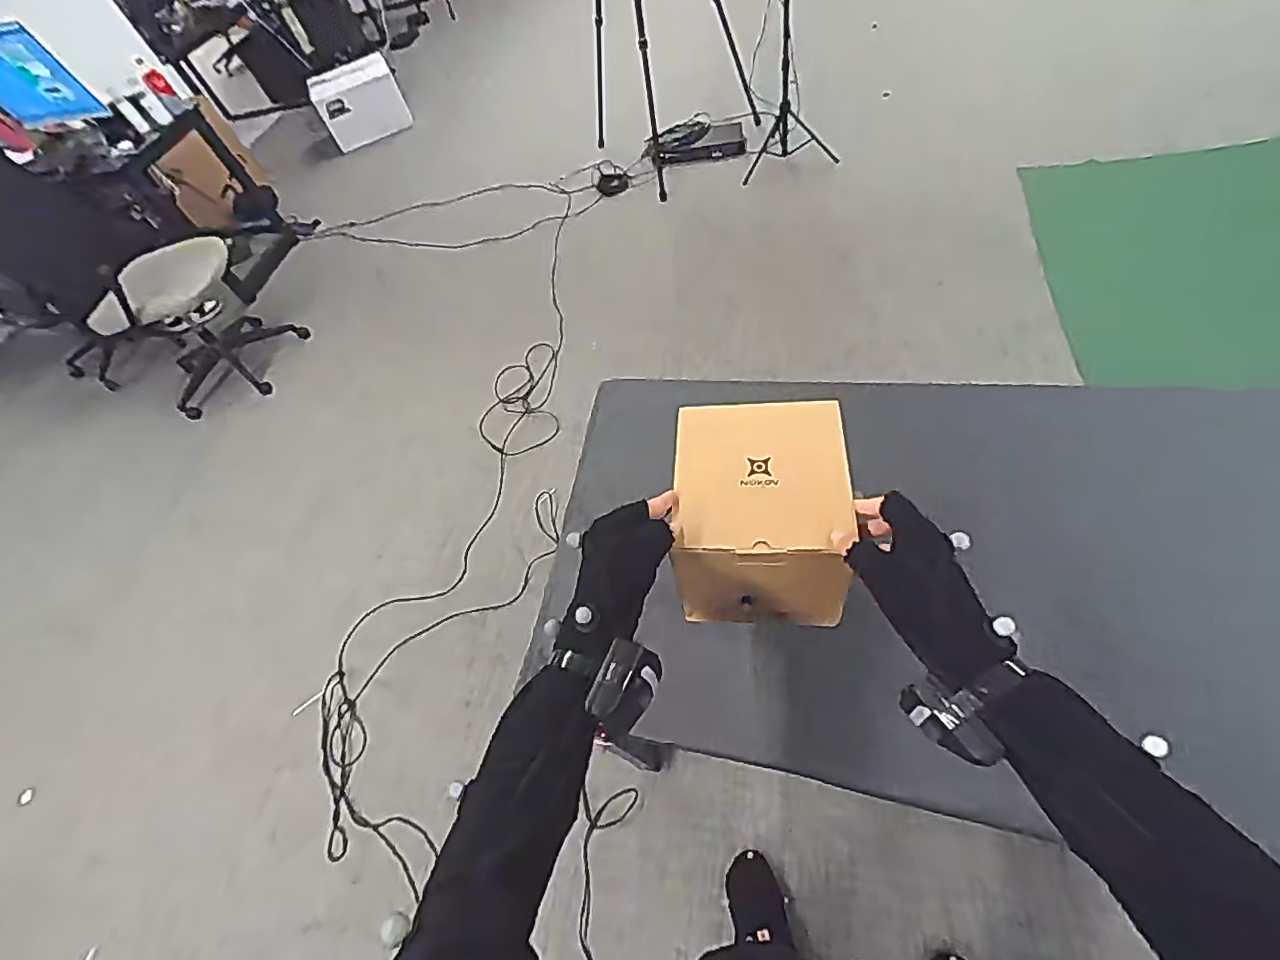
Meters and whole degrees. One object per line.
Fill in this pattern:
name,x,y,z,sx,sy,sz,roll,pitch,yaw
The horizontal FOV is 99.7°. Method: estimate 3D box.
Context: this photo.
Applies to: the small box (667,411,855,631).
small box,0.124,0.046,0.585,0.168,0.176,0.179,0,54,11
